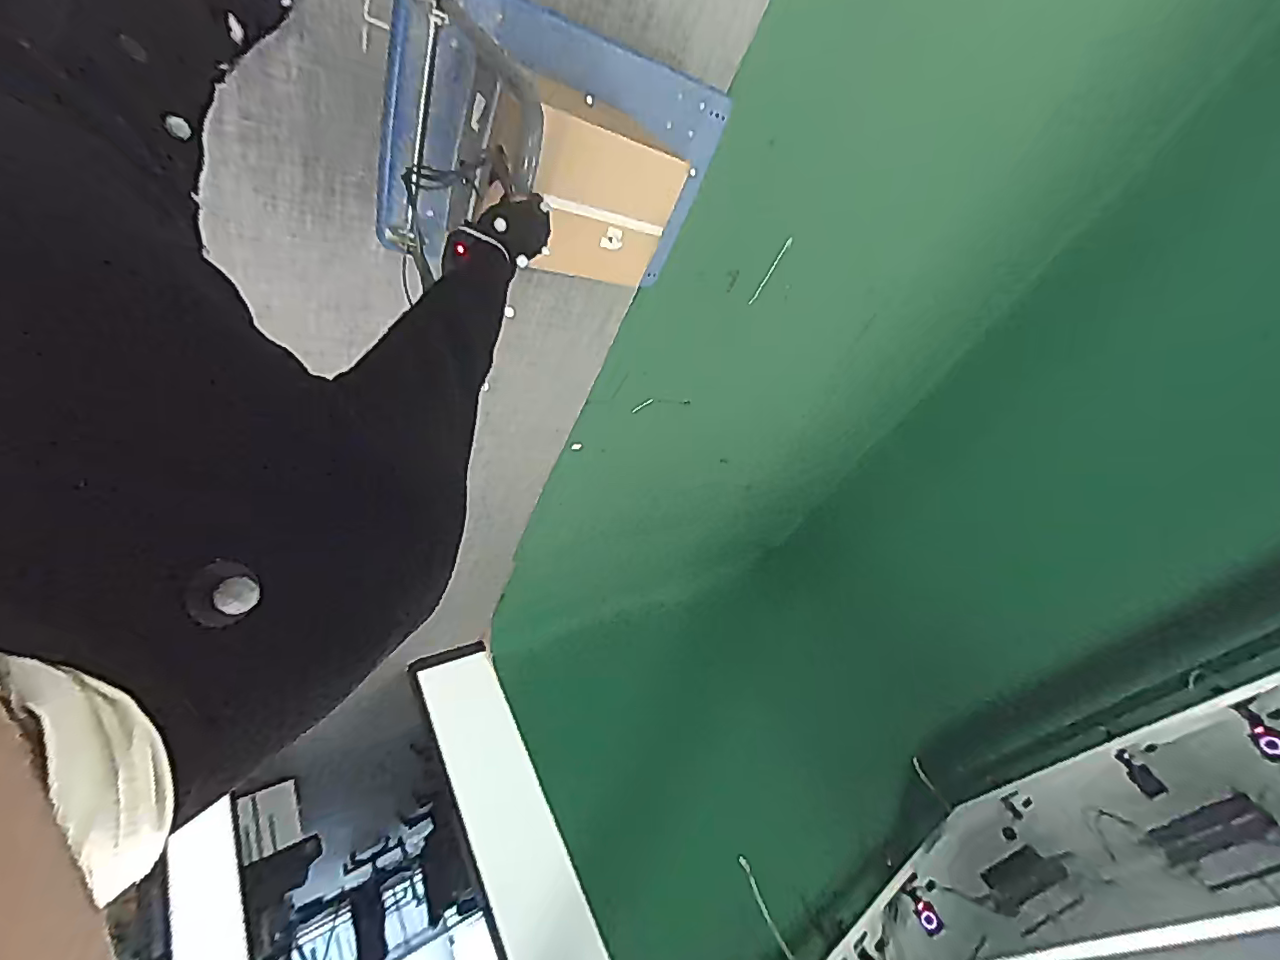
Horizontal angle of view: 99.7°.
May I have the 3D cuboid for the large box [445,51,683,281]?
[{"bbox_3d":[-0.189,-0.706,1.260,0.408,0.320,0.320,-7,141,-40],"label":"large box"}]
